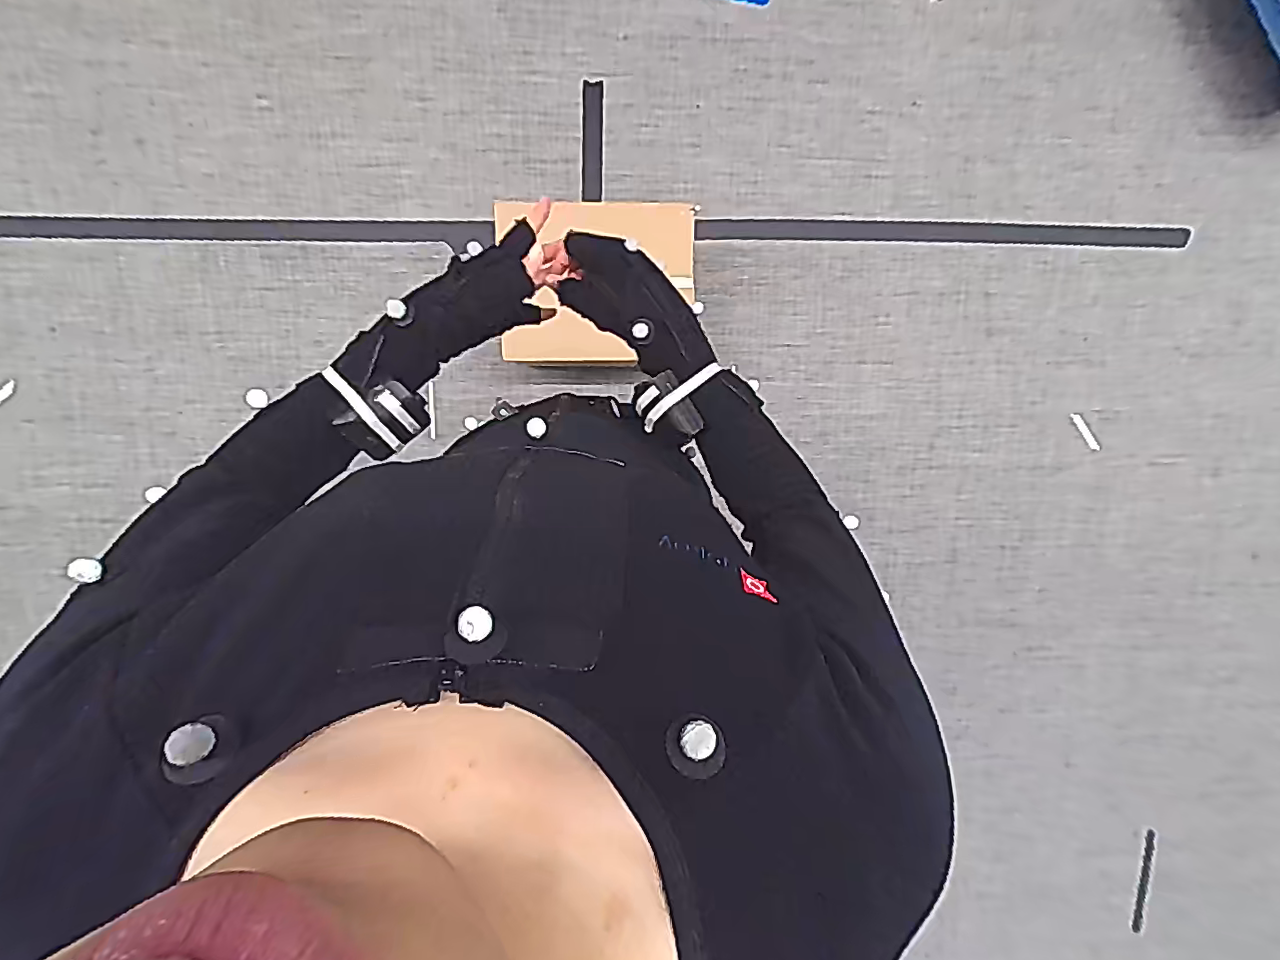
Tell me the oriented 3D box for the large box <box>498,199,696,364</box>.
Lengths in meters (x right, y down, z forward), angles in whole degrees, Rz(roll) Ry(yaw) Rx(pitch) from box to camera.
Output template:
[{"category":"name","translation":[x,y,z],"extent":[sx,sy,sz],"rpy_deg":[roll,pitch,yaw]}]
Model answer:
[{"category":"large box","translation":[-0.095,-0.440,1.264],"extent":[0.408,0.320,0.320],"rpy_deg":[-2,100,-4]}]
